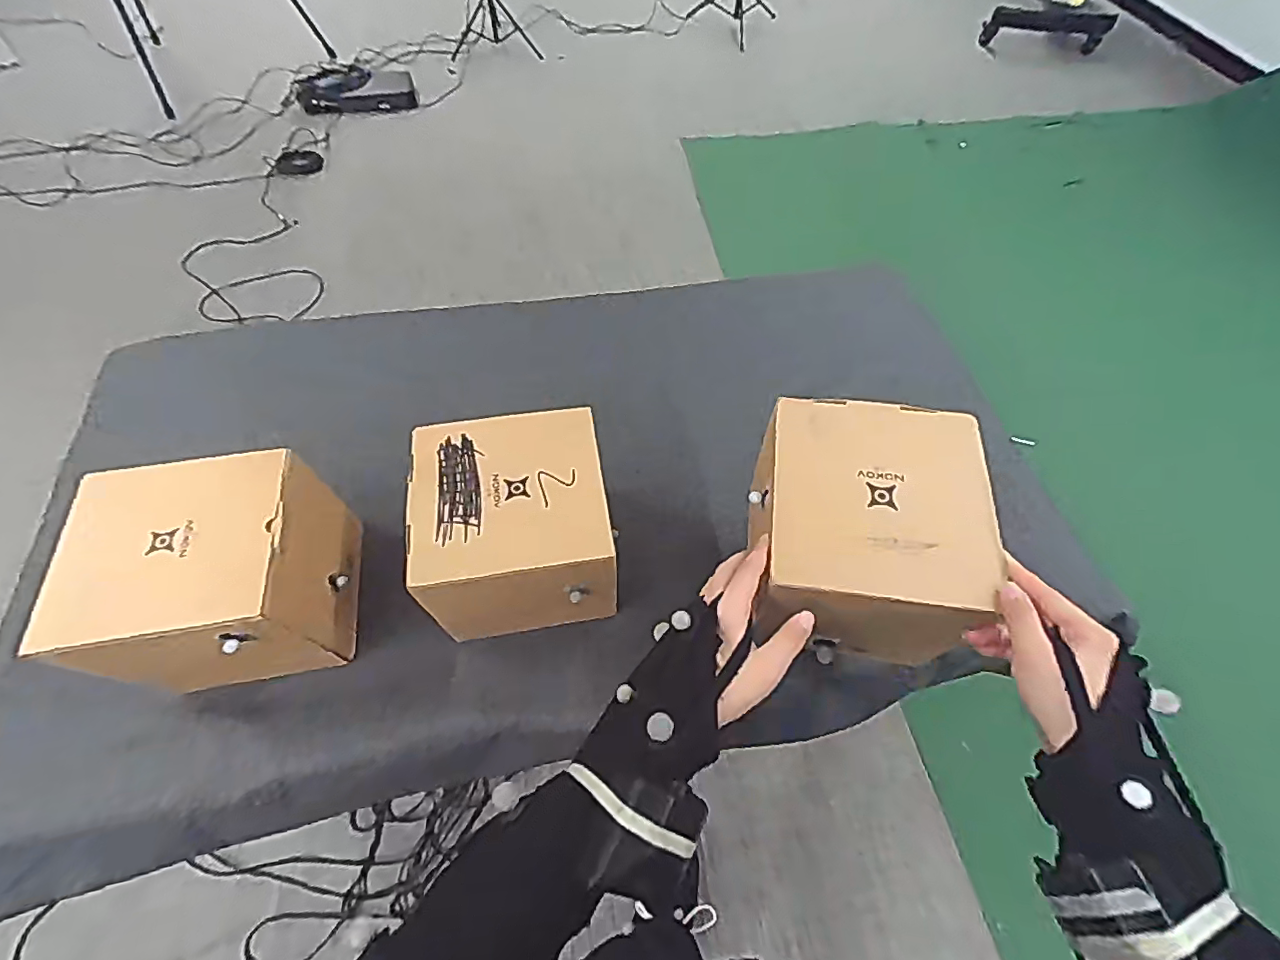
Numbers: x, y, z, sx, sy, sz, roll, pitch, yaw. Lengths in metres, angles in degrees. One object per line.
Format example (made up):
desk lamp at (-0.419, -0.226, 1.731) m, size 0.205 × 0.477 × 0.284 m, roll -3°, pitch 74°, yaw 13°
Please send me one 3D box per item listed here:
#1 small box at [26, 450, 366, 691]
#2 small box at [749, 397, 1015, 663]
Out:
small box at (-0.396, 0.094, 0.525) m, size 0.179 × 0.176 × 0.168 m, roll -8°, pitch 59°, yaw -8°
small box at (0.194, 0.050, 0.491) m, size 0.168 × 0.176 × 0.179 m, roll 6°, pitch 60°, yaw 7°
